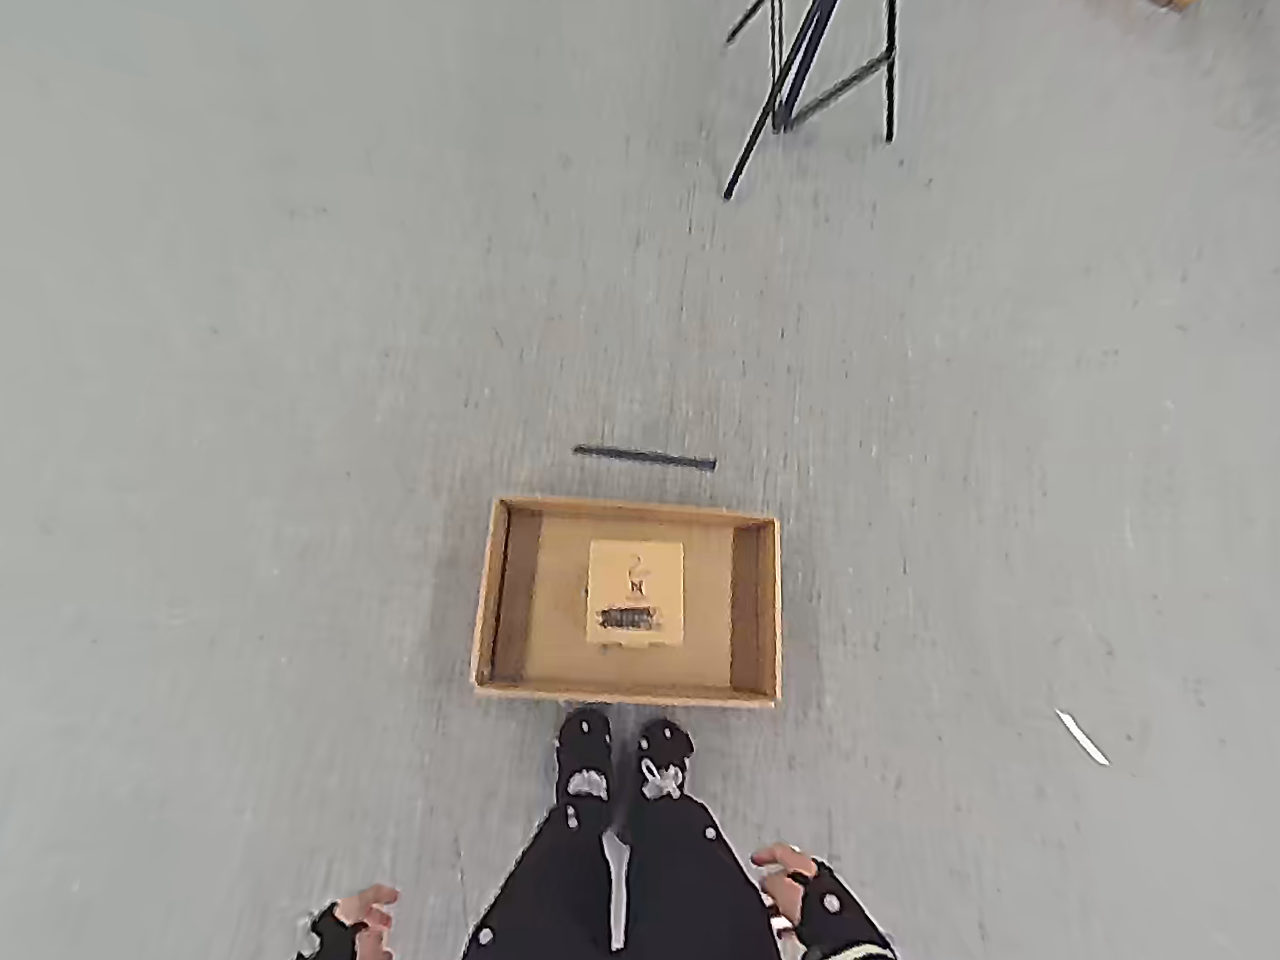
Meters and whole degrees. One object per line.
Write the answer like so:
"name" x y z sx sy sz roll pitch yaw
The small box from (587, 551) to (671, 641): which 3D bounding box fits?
"small box" -0.028 0.252 1.165 0.168 0.176 0.179 3 76 -4
